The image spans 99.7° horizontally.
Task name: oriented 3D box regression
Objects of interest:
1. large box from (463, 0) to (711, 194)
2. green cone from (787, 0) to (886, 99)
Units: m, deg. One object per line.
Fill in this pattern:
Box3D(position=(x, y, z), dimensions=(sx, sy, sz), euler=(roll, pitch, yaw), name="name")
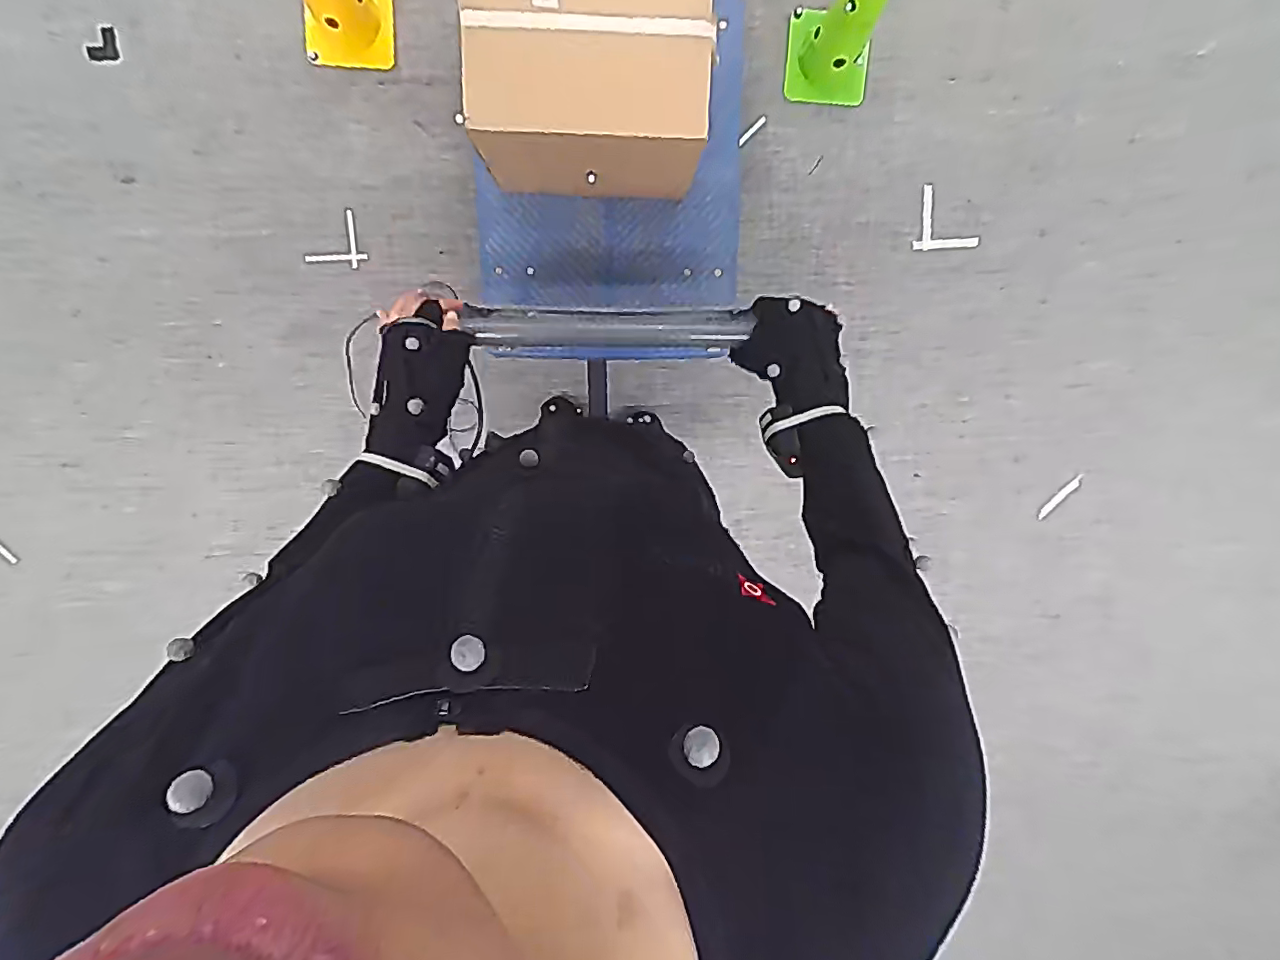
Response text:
Box3D(position=(-0.088, -0.751, 1.015), dimensions=(0.408, 0.320, 0.320), euler=(1, 100, -2), name="large box")
Box3D(position=(0.470, -1.011, 1.141), dimensions=(0.202, 0.368, 0.200), euler=(2, 100, -4), name="green cone")
